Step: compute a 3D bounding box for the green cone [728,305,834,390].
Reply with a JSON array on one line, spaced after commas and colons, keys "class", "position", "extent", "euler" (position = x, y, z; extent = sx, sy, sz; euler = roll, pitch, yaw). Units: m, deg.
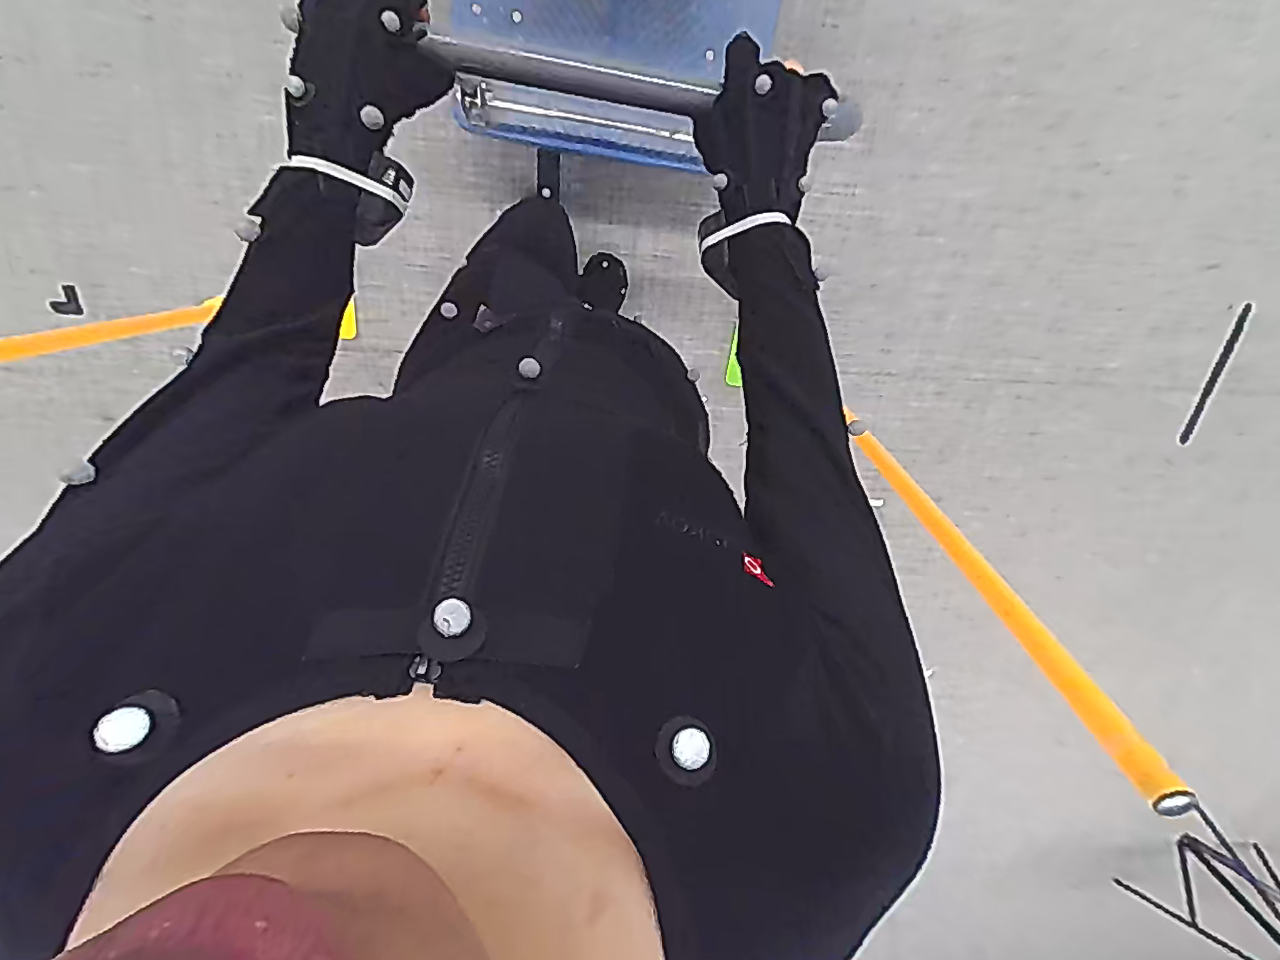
[{"class": "green cone", "position": [0.351, -0.269, 1.241], "extent": [0.202, 0.368, 0.200], "euler": [6, 114, -7]}]
